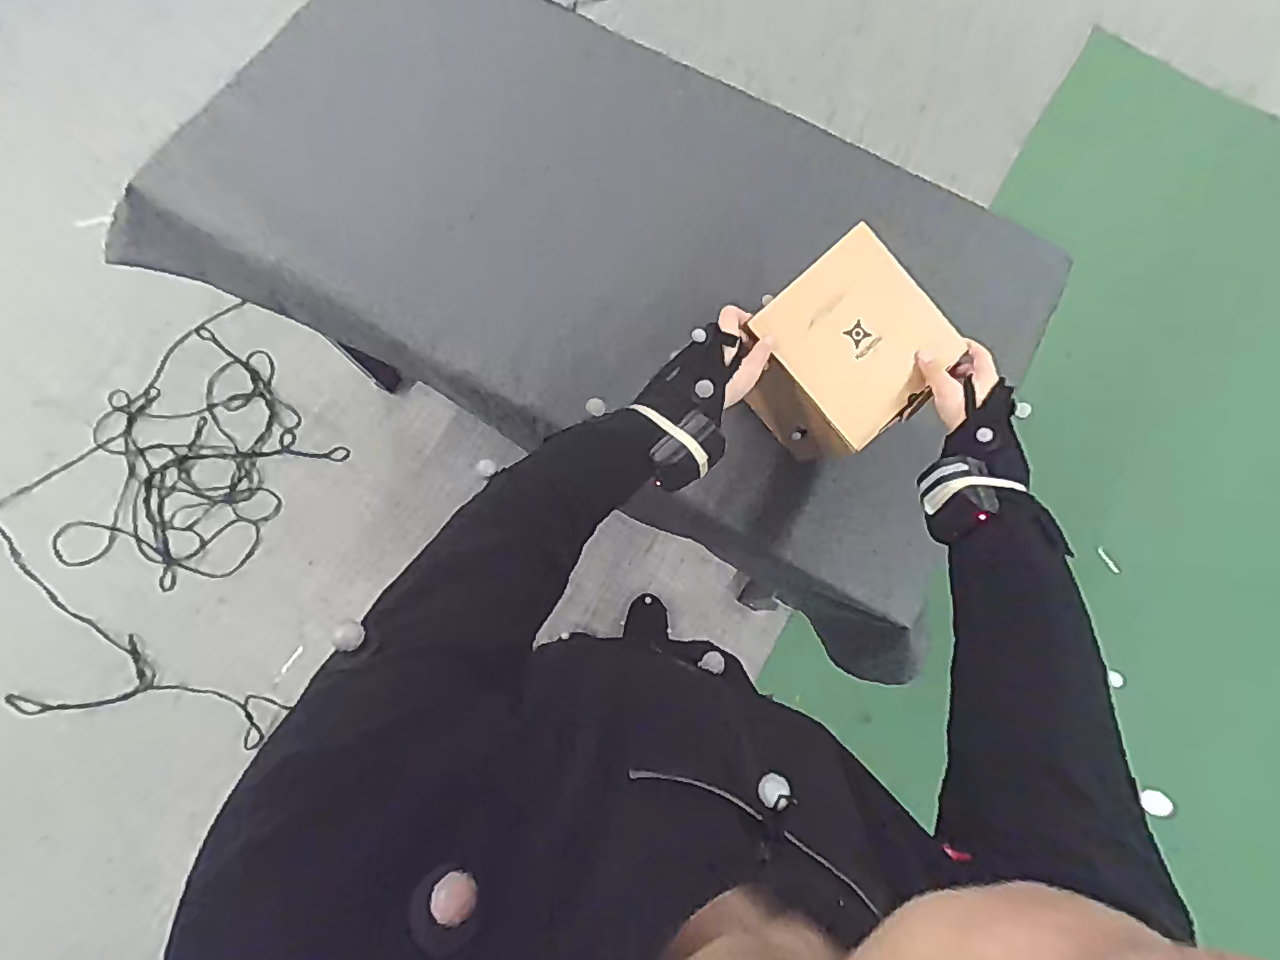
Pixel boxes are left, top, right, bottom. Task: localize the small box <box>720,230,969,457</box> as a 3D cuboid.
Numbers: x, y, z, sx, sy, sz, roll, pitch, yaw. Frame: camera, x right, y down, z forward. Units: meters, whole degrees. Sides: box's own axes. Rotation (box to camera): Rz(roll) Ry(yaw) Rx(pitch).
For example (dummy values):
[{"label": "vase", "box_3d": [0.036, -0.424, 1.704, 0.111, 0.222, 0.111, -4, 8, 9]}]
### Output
[{"label": "small box", "box_3d": [0.221, -0.140, 0.631, 0.168, 0.176, 0.179, -42, 90, -5]}]
